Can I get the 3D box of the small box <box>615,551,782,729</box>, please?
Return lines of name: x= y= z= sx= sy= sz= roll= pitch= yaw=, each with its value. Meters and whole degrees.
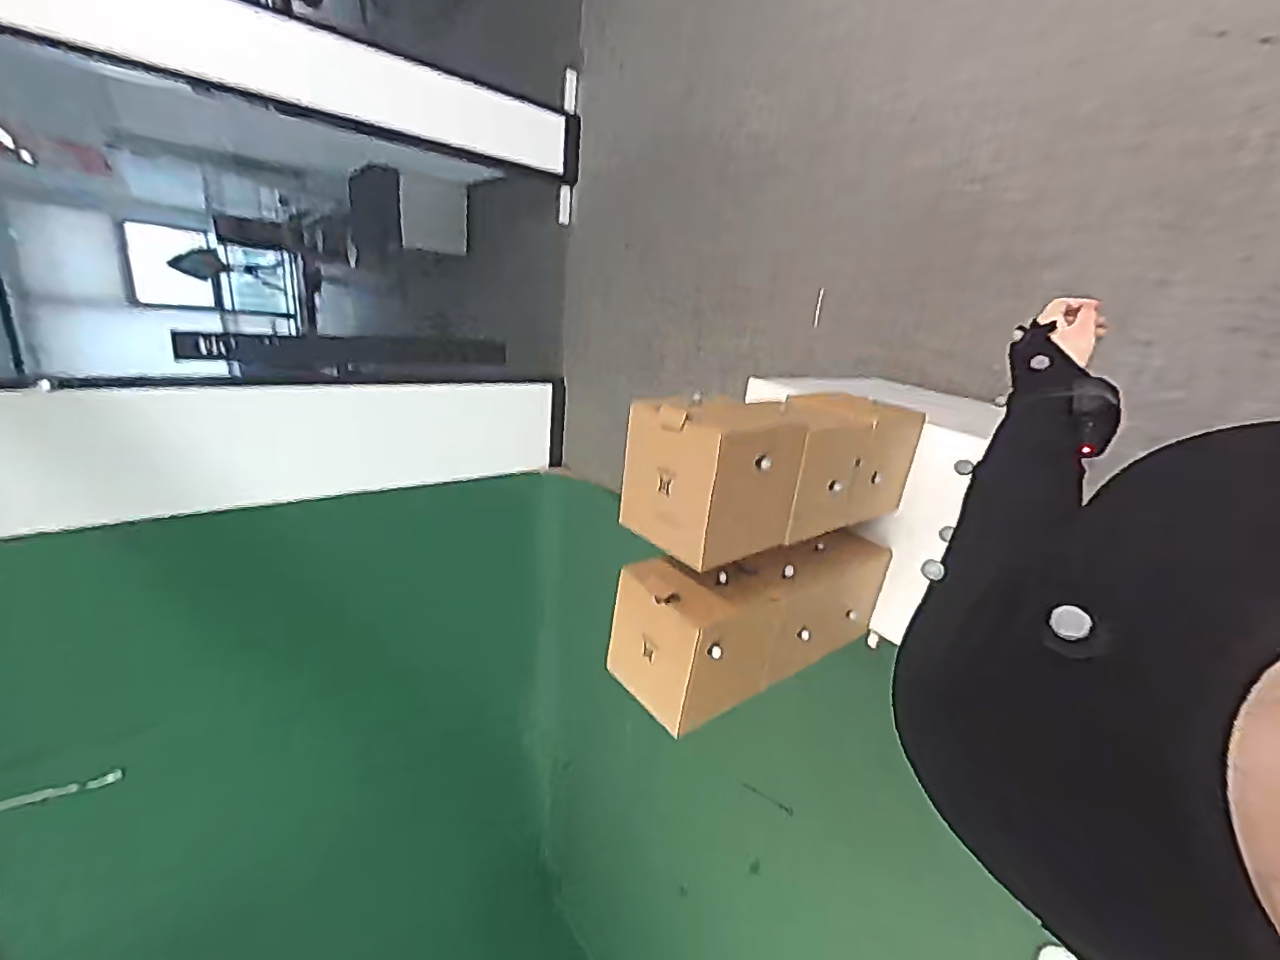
small box: x=0.084 y=0.218 z=0.796 sx=0.168 sy=0.176 sz=0.179 roll=28 pitch=117 yaw=45

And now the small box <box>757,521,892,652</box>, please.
small box: x=0.336 y=0.181 z=1.003 sx=0.168 sy=0.176 sz=0.179 roll=28 pitch=116 yaw=44

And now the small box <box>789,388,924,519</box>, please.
small box: x=0.357 y=-0.055 z=0.930 sx=0.168 sy=0.176 sz=0.179 roll=28 pitch=118 yaw=44

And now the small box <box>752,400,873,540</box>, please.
small box: x=0.228 y=-0.027 z=0.831 sx=0.179 sy=0.176 sz=0.168 roll=24 pitch=115 yaw=46

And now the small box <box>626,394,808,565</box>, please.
small box: x=0.103 y=-0.015 z=0.728 sx=0.168 sy=0.176 sz=0.179 roll=27 pitch=119 yaw=45
